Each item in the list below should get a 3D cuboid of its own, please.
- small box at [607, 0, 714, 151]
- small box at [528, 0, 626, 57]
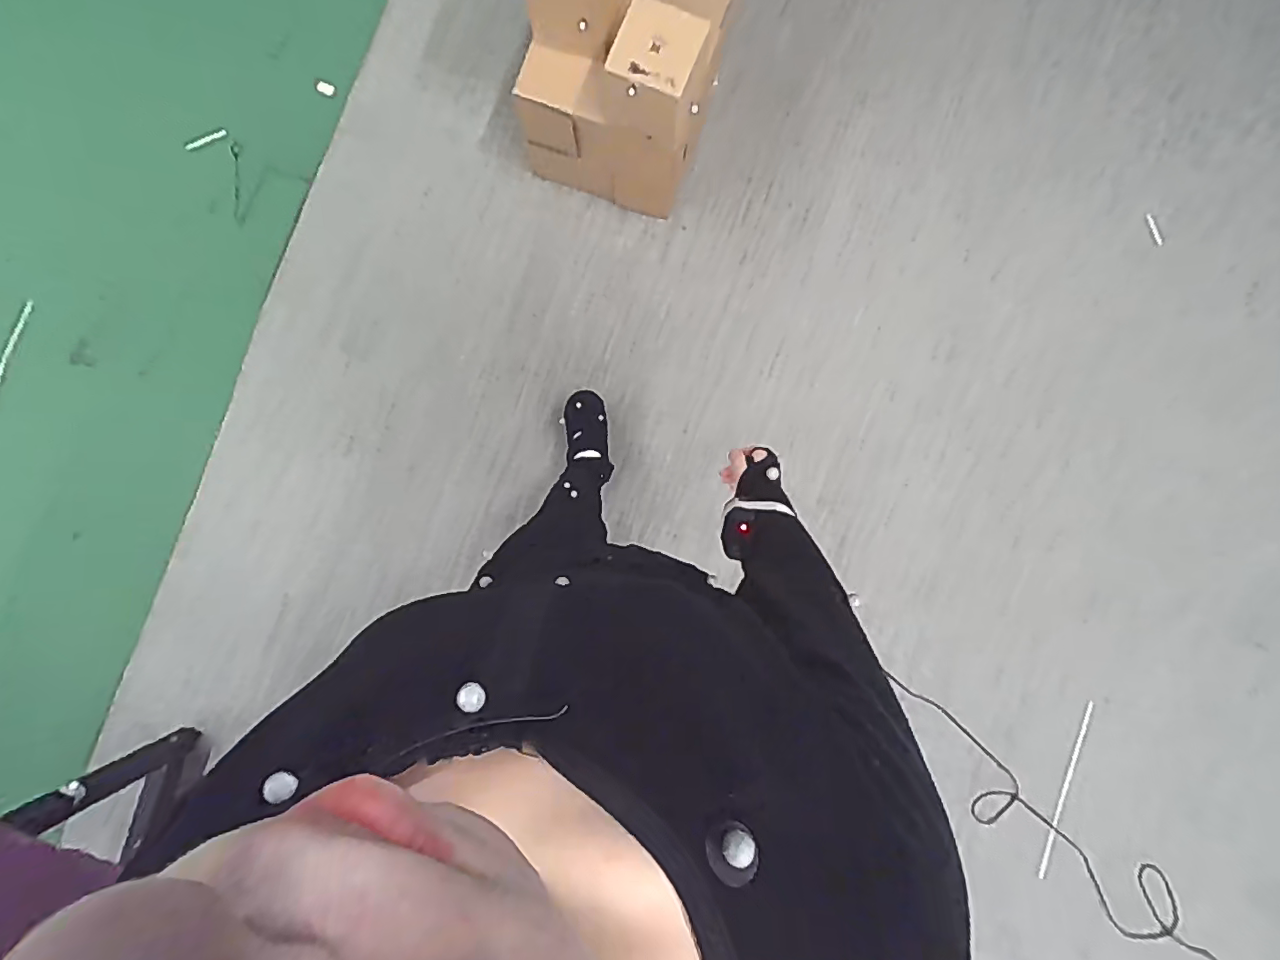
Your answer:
[{"bbox_3d":[0.038,-0.856,1.148,0.168,0.176,0.179,23,86,1],"label":"small box"},{"bbox_3d":[-0.134,-1.068,1.167,0.179,0.176,0.168,17,85,2],"label":"small box"}]
